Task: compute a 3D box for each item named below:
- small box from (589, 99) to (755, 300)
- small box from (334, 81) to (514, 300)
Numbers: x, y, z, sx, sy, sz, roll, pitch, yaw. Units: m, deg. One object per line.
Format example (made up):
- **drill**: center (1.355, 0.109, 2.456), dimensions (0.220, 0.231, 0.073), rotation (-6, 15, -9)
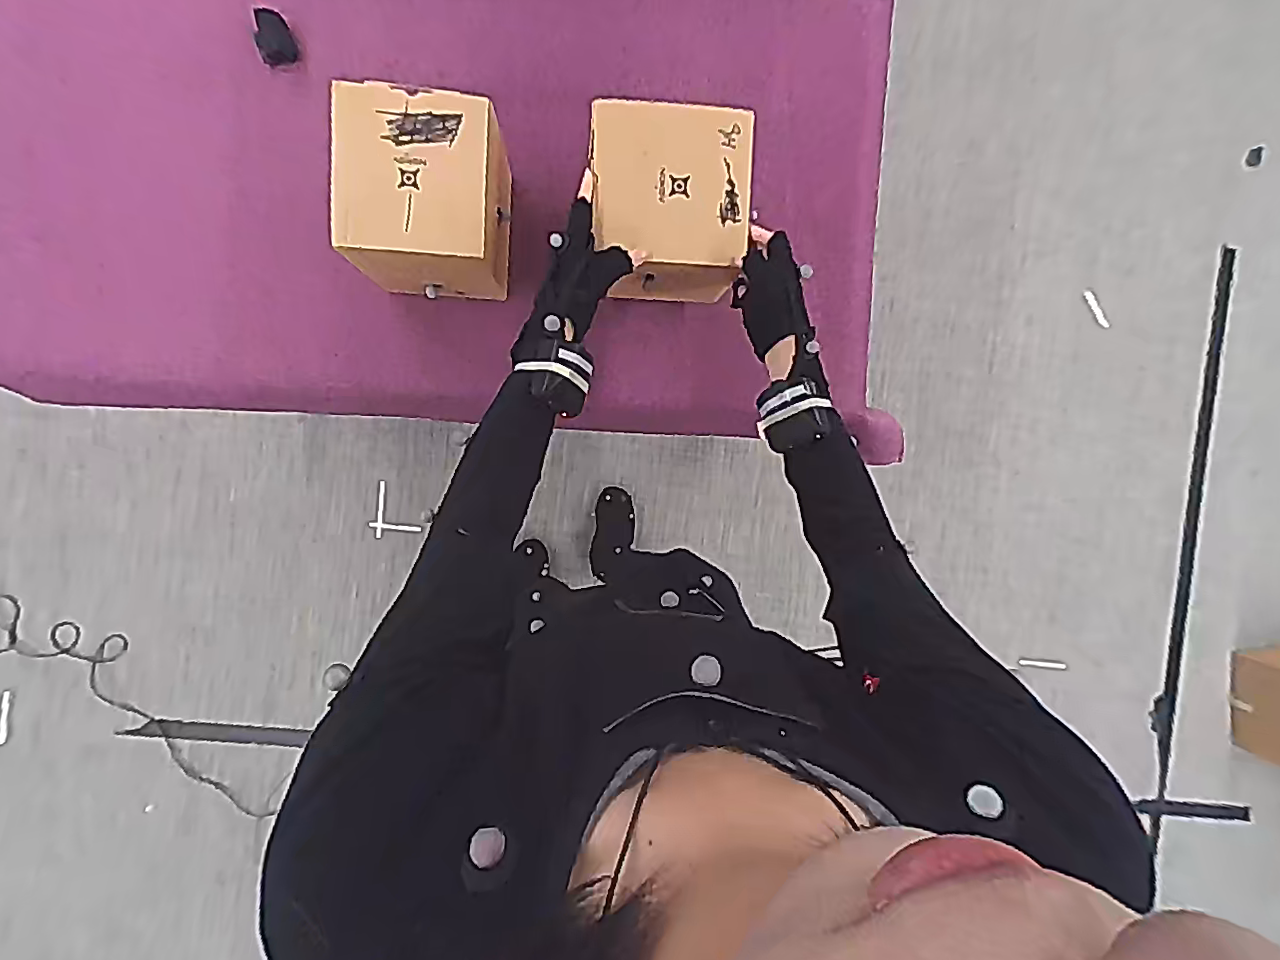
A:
- **small box**: center (0.031, -0.326, 0.663), dimensions (0.179, 0.176, 0.168), rotation (2, 94, -3)
- **small box**: center (-0.252, -0.340, 0.668), dimensions (0.168, 0.176, 0.179), rotation (3, 92, -5)
